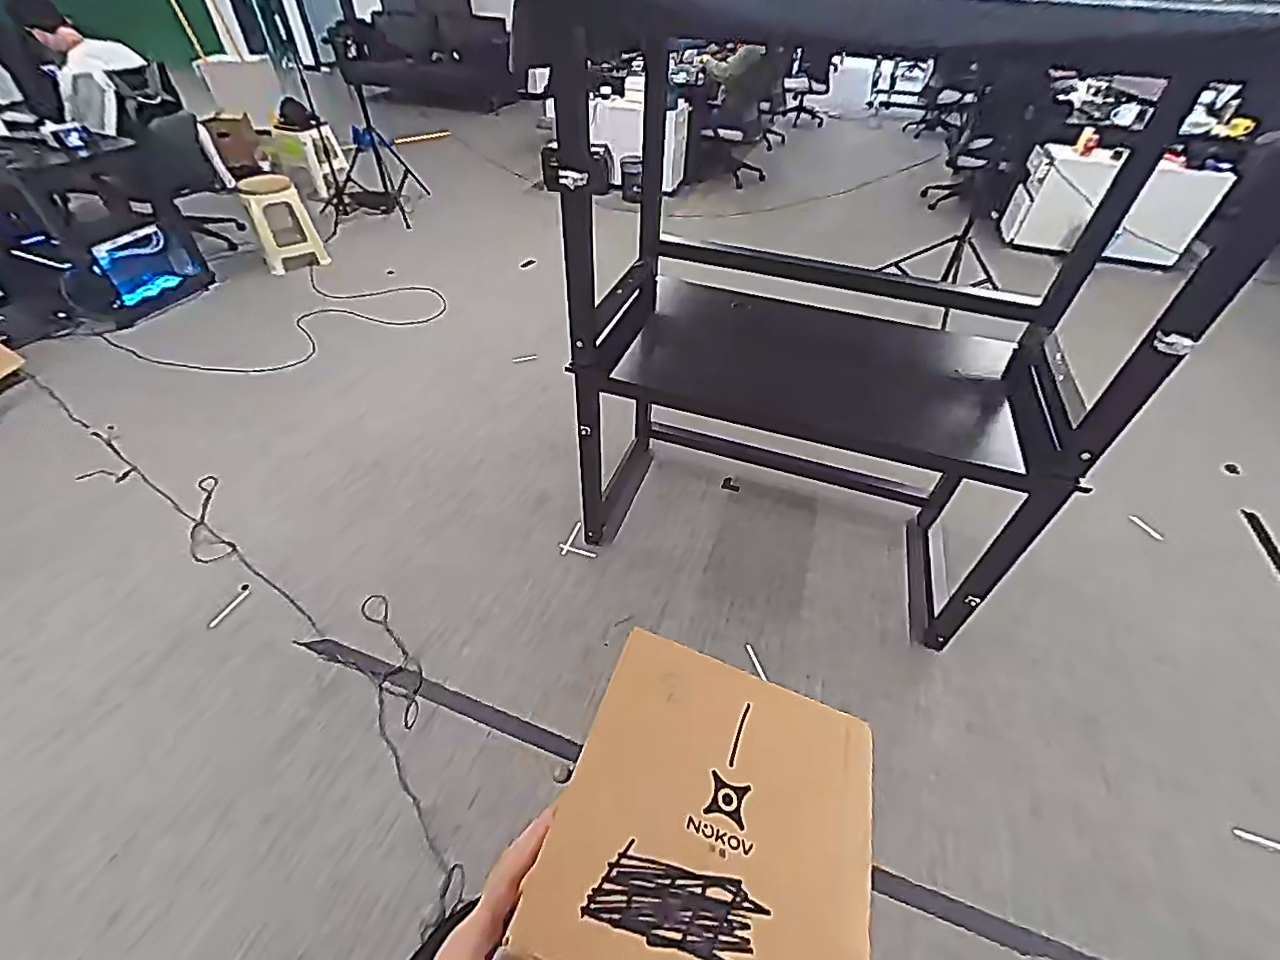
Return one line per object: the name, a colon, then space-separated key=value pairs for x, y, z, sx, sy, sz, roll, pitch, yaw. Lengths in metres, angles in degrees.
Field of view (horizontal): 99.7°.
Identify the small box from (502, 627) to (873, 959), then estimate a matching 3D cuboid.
small box: x=0.028 y=0.235 z=0.344 sx=0.168 sy=0.176 sz=0.179 roll=21 pitch=43 yaw=7
